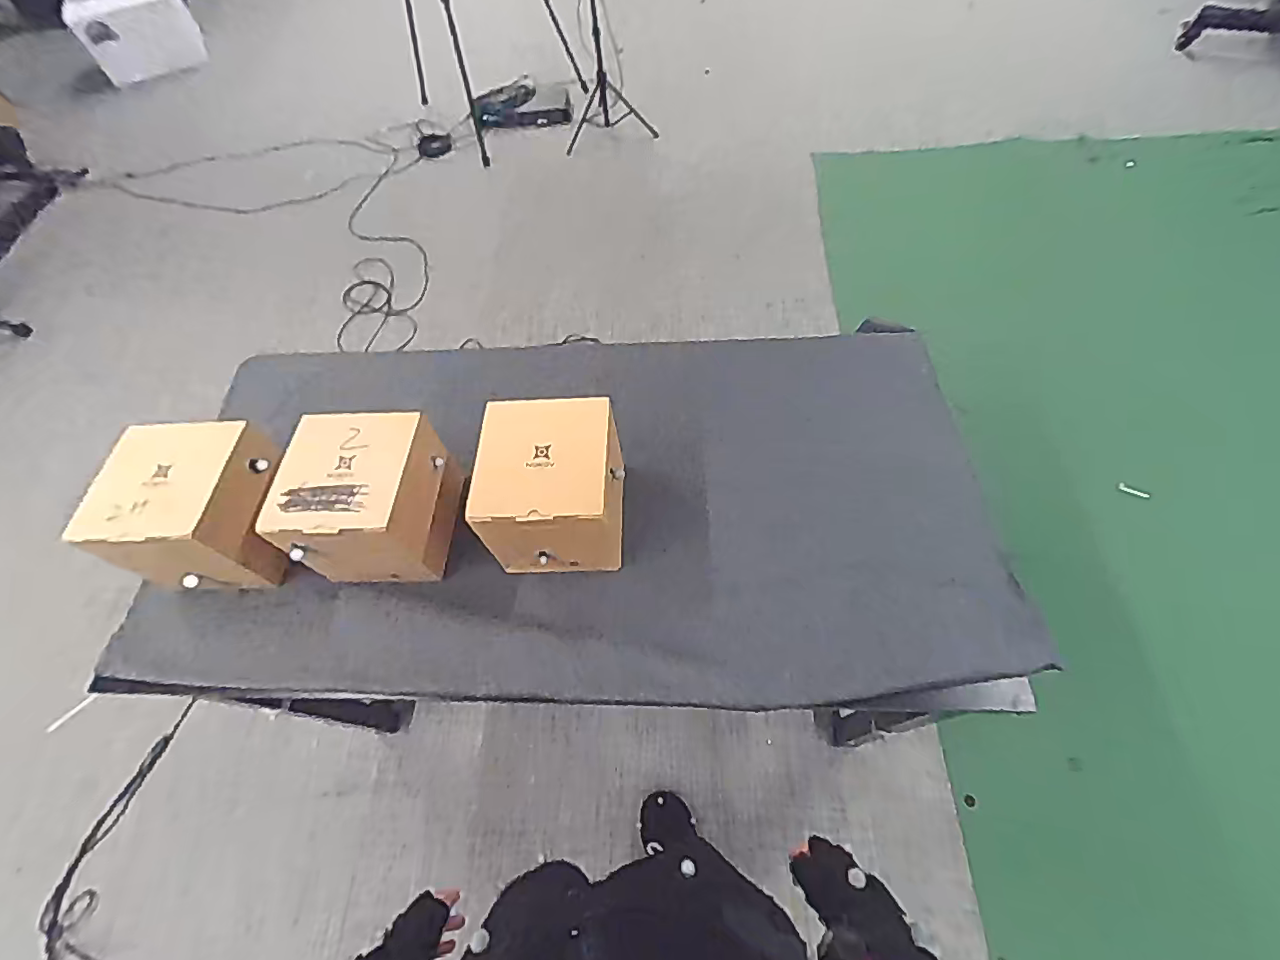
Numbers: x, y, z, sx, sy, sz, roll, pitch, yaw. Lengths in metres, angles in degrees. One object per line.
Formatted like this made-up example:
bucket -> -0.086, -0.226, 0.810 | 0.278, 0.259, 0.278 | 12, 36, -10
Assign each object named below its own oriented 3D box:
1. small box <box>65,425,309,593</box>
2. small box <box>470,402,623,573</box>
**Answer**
small box -> -0.599, 0.044, 0.750 | 0.168, 0.176, 0.179 | -2, 58, 2
small box -> -0.113, 0.015, 0.735 | 0.168, 0.176, 0.179 | -2, 60, 3
